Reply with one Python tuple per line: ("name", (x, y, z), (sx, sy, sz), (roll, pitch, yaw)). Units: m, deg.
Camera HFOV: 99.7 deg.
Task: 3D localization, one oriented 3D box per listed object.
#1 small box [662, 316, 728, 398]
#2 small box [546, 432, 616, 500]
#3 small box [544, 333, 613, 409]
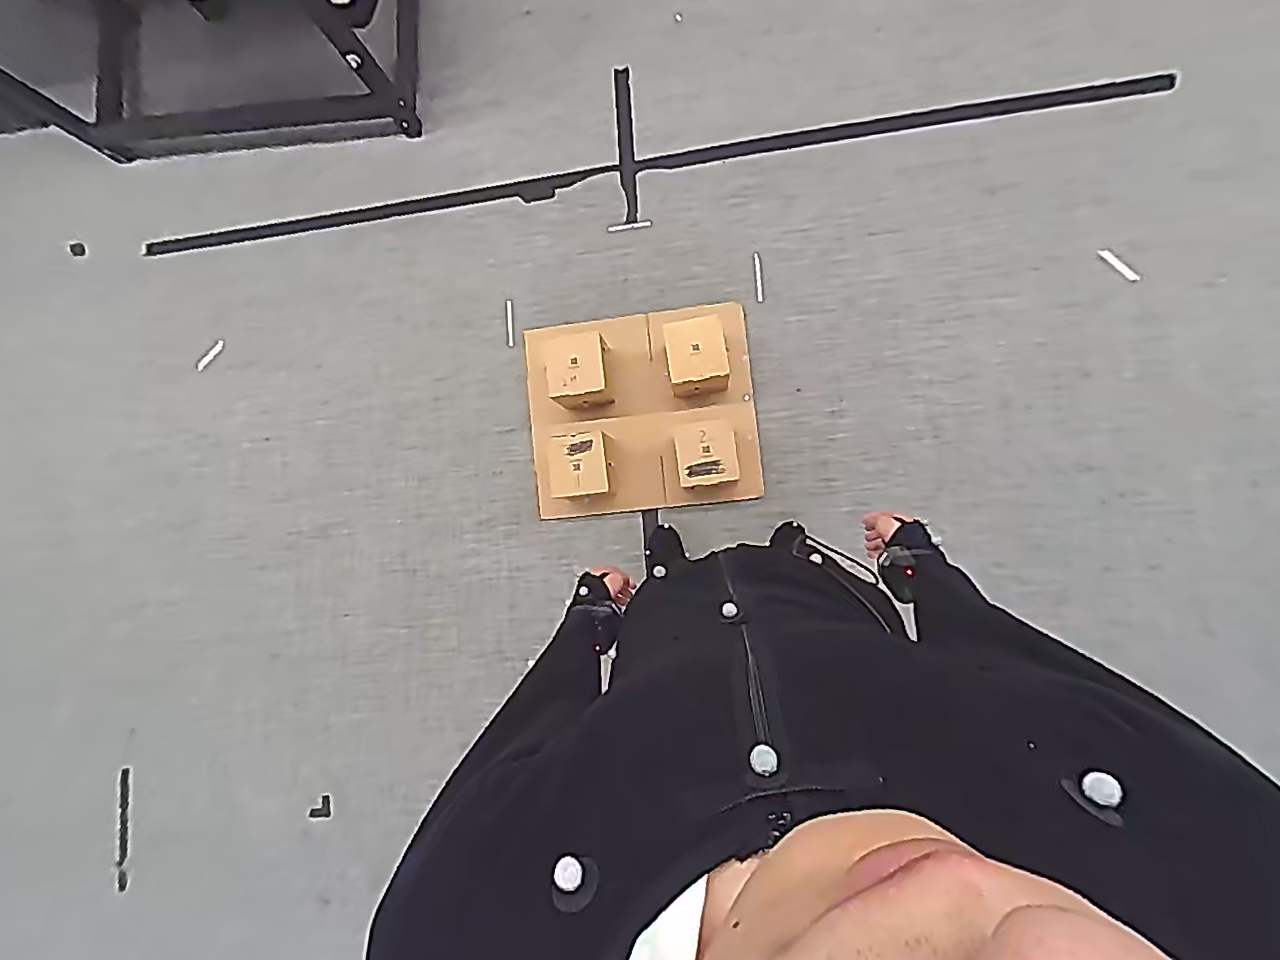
("small box", (0.160, -0.354, 1.584), (0.168, 0.176, 0.179), (-10, 85, 6))
("small box", (-0.171, -0.036, 1.599), (0.168, 0.176, 0.179), (-7, 86, 7))
("small box", (-0.180, -0.320, 1.617), (0.168, 0.176, 0.179), (-7, 86, 7))
